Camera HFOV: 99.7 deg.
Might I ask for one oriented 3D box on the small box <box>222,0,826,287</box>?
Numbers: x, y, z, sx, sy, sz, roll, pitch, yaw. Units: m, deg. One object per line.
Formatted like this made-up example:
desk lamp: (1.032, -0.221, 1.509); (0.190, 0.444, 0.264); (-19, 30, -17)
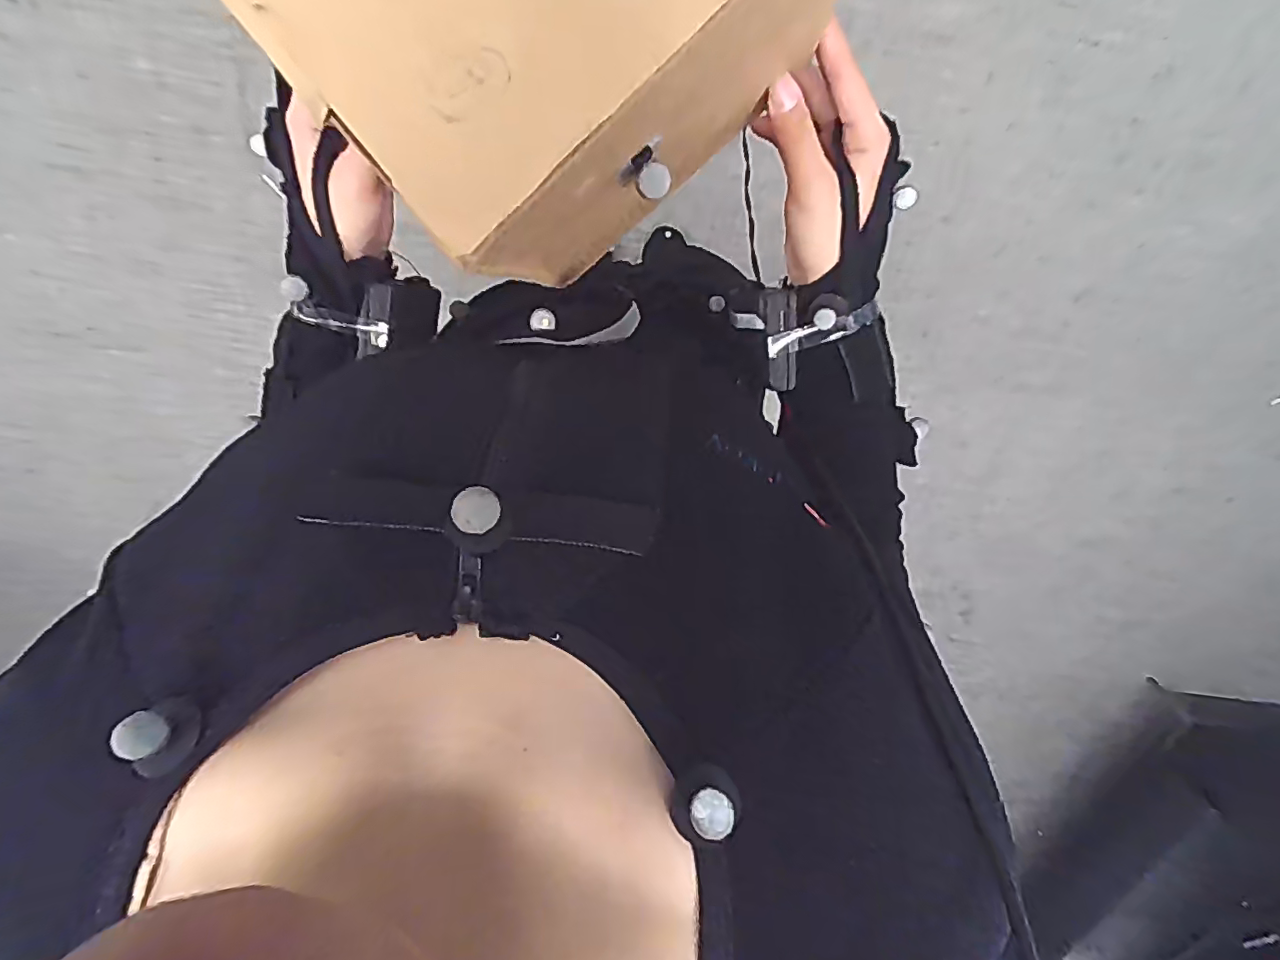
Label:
small box: (-0.035, -0.199, 0.223); (0.179, 0.176, 0.168); (-36, 101, 15)
